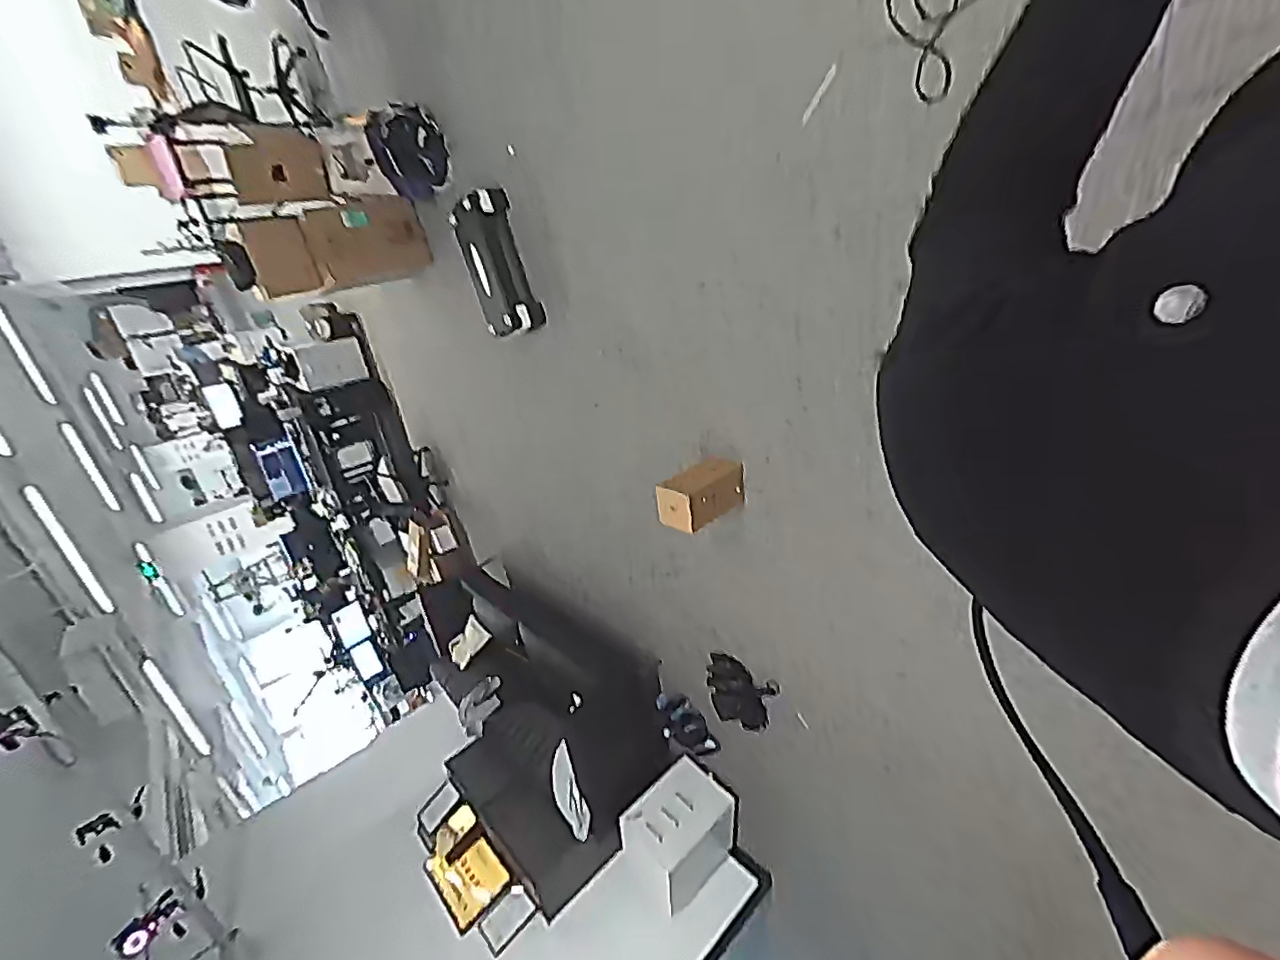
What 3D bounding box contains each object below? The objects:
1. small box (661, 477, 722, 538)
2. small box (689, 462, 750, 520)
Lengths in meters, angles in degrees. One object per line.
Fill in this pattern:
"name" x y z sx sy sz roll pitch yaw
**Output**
"small box" 0.209 0.100 2.117 0.179 0.176 0.168 17 124 47
"small box" 0.327 0.039 2.211 0.179 0.176 0.168 17 125 45
